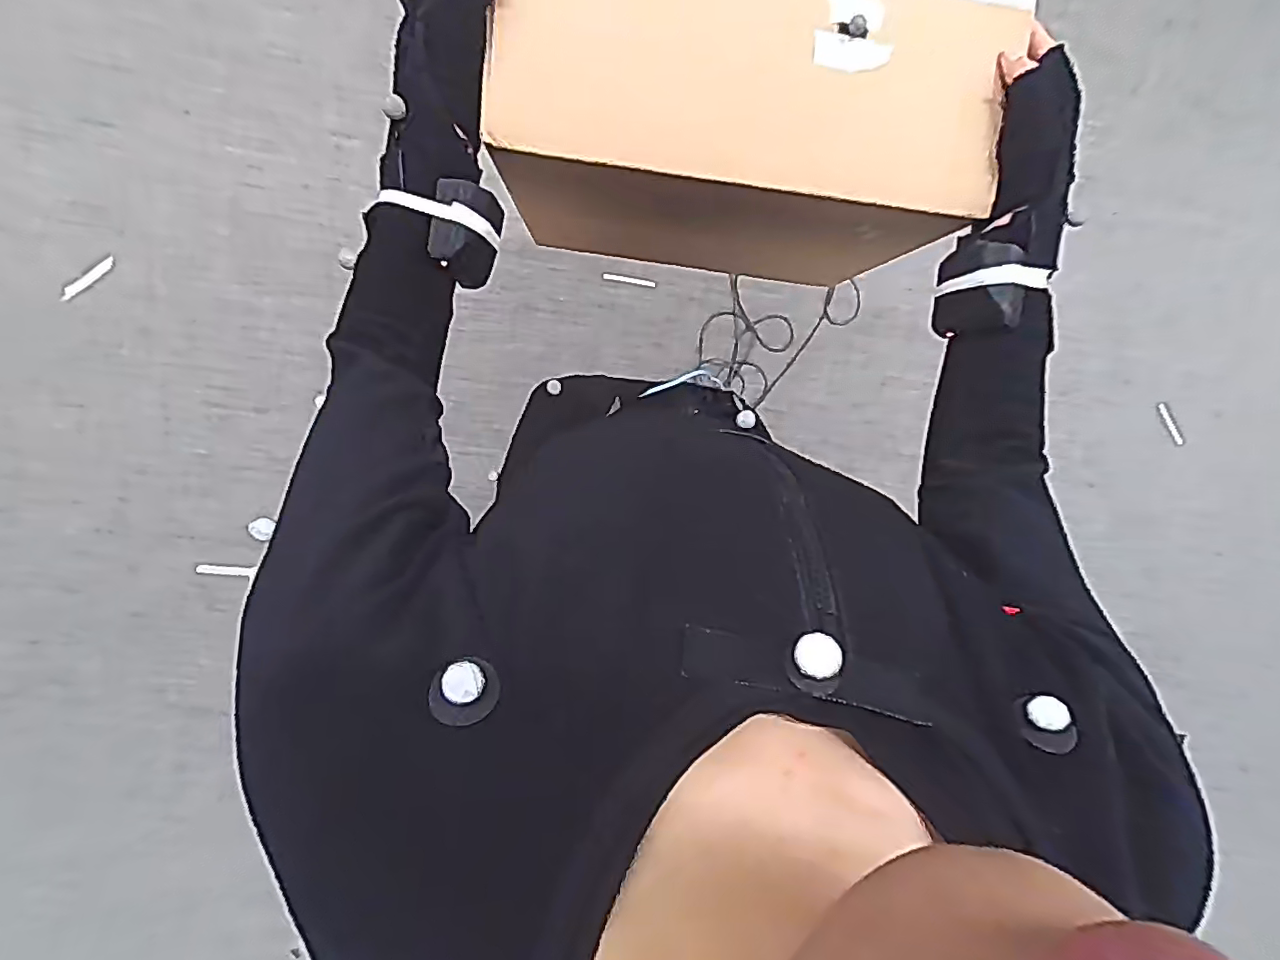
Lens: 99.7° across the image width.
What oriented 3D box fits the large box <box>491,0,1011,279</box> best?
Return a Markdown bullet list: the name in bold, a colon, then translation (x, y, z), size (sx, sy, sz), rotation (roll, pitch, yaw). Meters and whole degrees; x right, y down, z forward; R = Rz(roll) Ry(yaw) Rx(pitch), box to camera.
- **large box**: translation (0.083, -0.415, 0.555), size (0.408, 0.320, 0.320), rotation (6, 100, -5)
